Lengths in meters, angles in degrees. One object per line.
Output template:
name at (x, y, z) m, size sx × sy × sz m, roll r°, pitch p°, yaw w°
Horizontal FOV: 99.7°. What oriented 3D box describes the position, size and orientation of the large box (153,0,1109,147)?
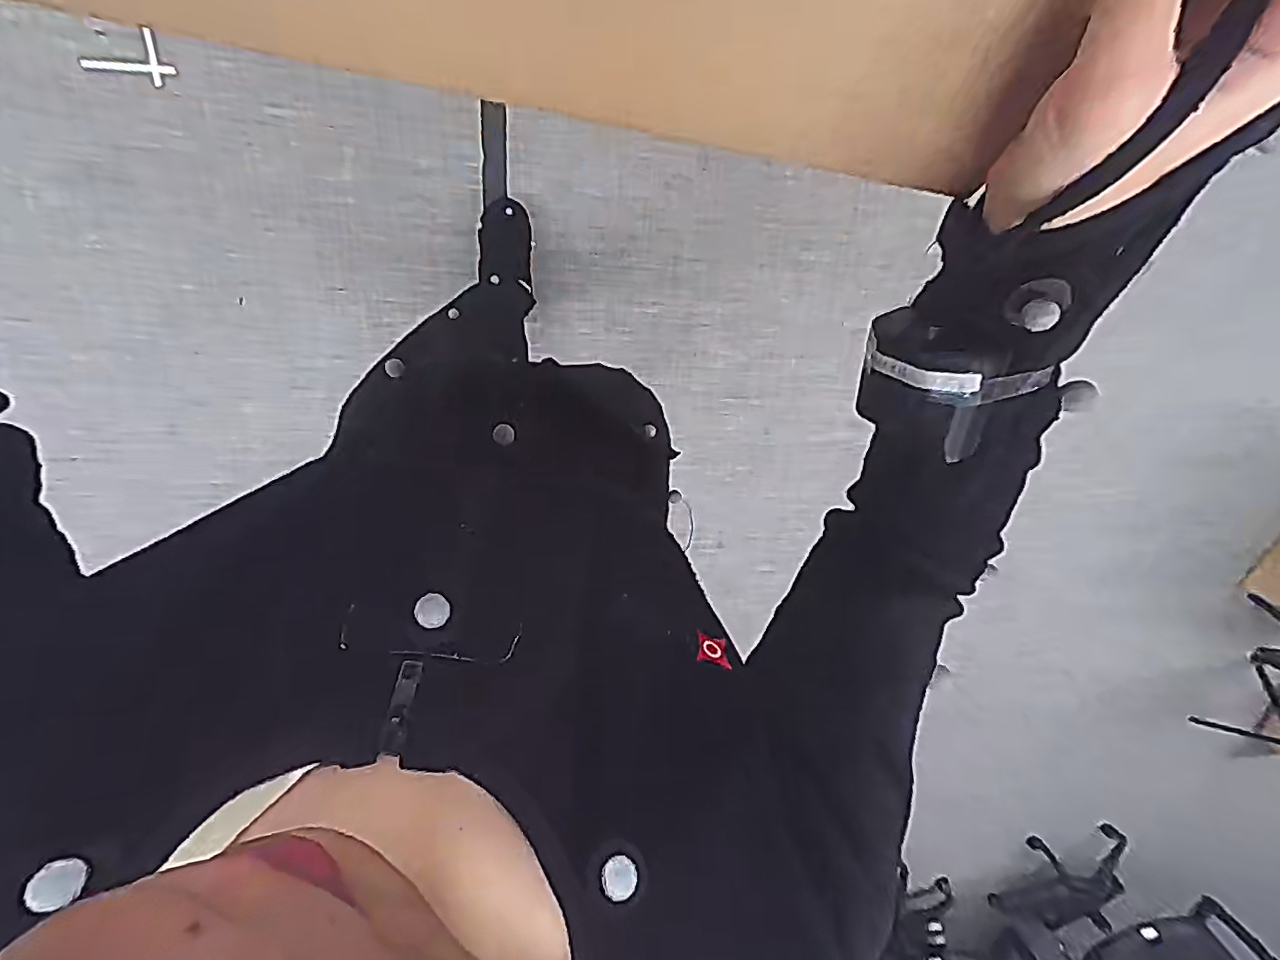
large box at (-0.022, -0.345, 0.110) m, size 0.408 × 0.320 × 0.320 m, roll 4°, pitch 72°, yaw -10°
